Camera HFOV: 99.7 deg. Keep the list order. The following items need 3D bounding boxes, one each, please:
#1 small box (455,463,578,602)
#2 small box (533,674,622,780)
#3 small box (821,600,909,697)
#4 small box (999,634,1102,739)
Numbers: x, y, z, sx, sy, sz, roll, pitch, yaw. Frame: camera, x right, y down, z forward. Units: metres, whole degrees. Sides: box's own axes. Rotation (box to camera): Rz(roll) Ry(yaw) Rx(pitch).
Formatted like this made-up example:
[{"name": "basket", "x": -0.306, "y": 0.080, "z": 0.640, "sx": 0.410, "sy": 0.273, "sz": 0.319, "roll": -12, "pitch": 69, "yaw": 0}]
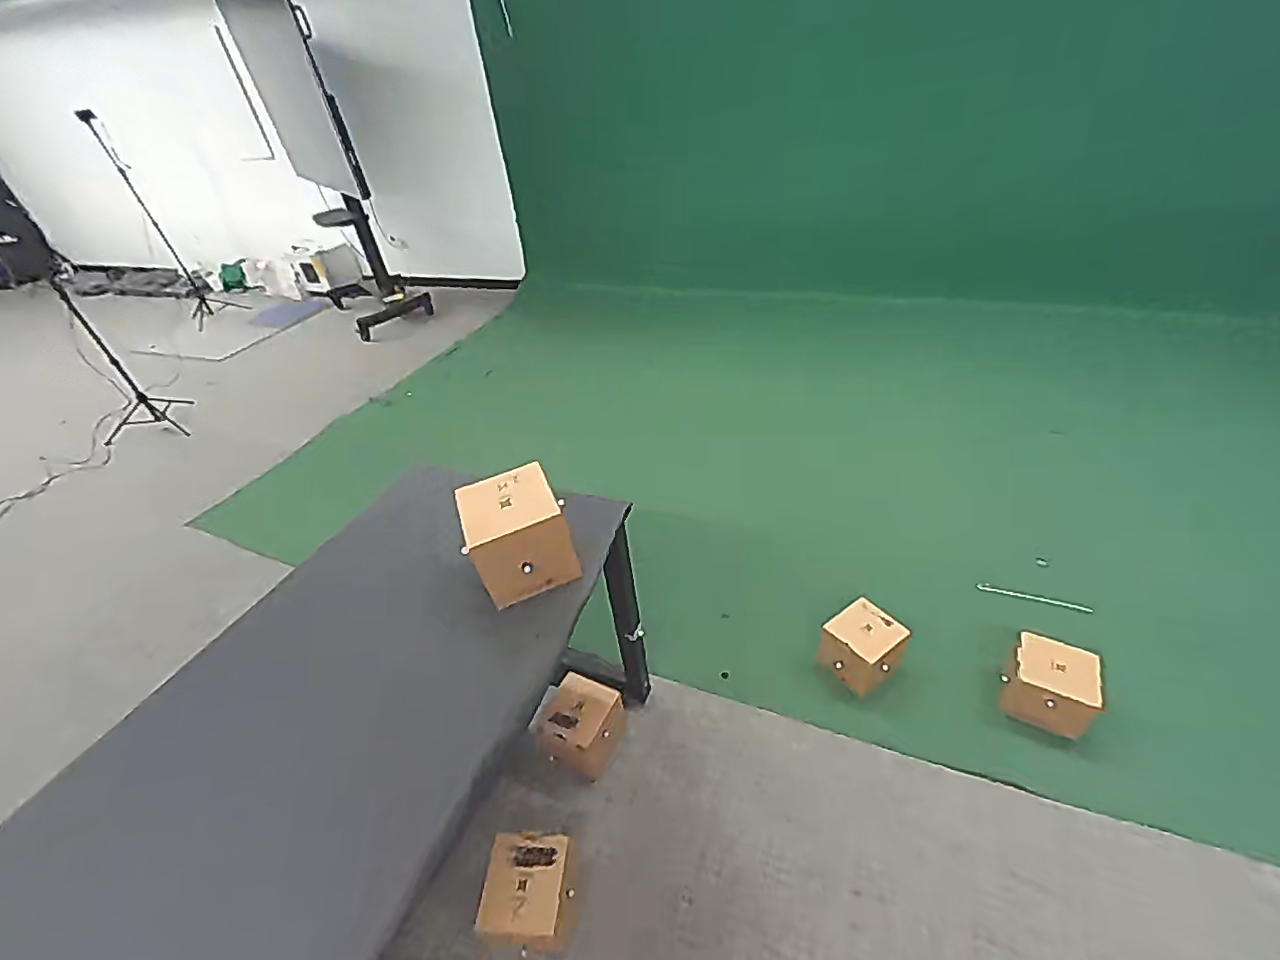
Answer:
[{"name": "small box", "x": -0.225, "y": 0.102, "z": 1.001, "sx": 0.168, "sy": 0.176, "sz": 0.179, "roll": -20, "pitch": 40, "yaw": -12}, {"name": "small box", "x": -0.158, "y": 0.668, "z": 1.461, "sx": 0.168, "sy": 0.176, "sz": 0.179, "roll": 14, "pitch": 41, "yaw": 24}, {"name": "small box", "x": 0.645, "y": 0.492, "z": 1.572, "sx": 0.179, "sy": 0.176, "sz": 0.168, "roll": -27, "pitch": 42, "yaw": -23}, {"name": "small box", "x": 1.080, "y": 0.550, "z": 1.433, "sx": 0.179, "sy": 0.176, "sz": 0.168, "roll": 17, "pitch": 45, "yaw": 25}]
